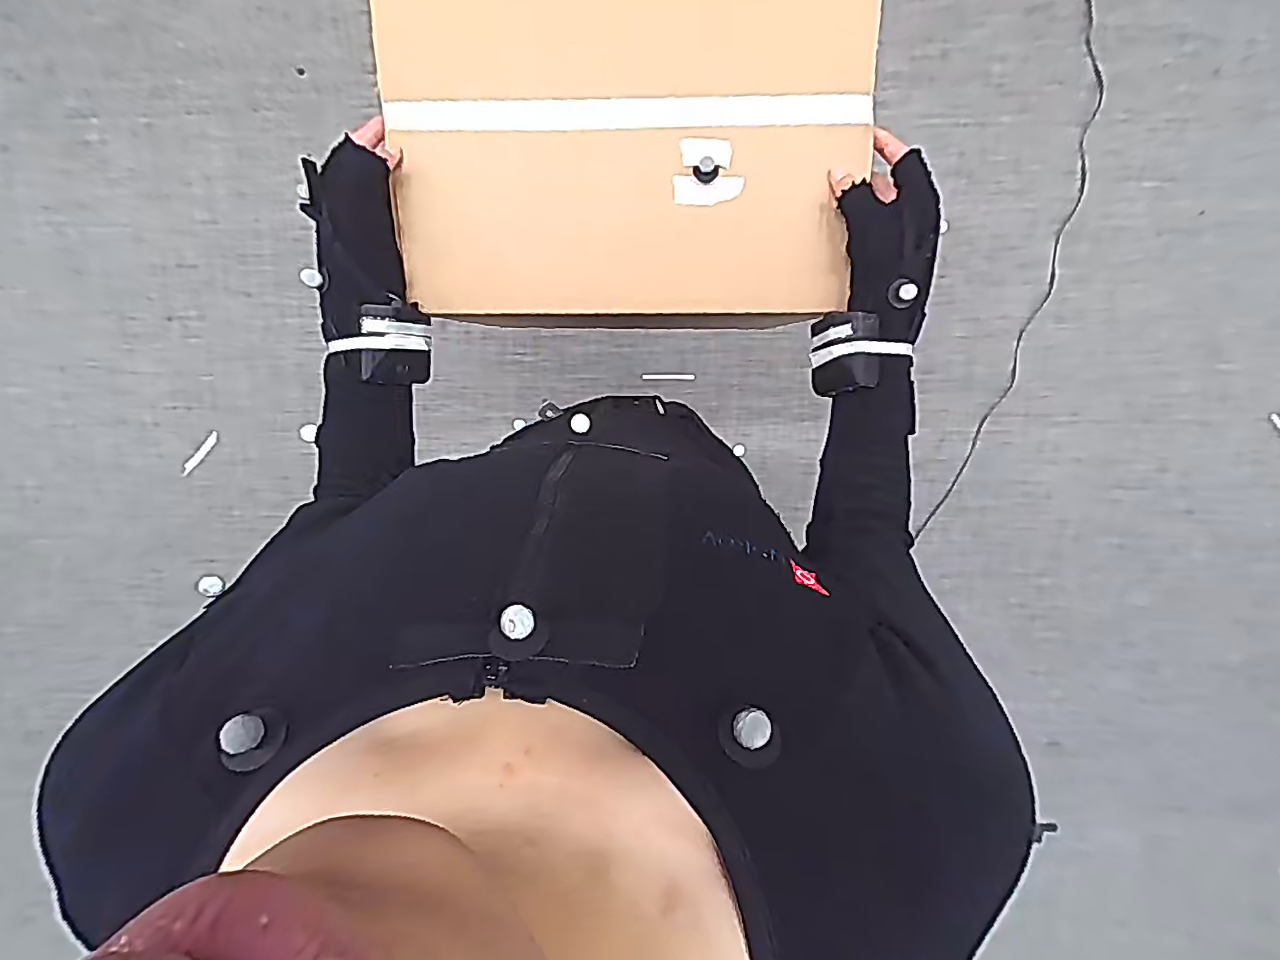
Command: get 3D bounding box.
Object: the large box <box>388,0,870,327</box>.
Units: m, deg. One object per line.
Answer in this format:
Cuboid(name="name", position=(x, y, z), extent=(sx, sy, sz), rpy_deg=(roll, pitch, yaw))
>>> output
Cuboid(name="large box", position=(-0.009, -0.344, 0.606), extent=(0.408, 0.320, 0.320), rpy_deg=(0, 103, 1))
